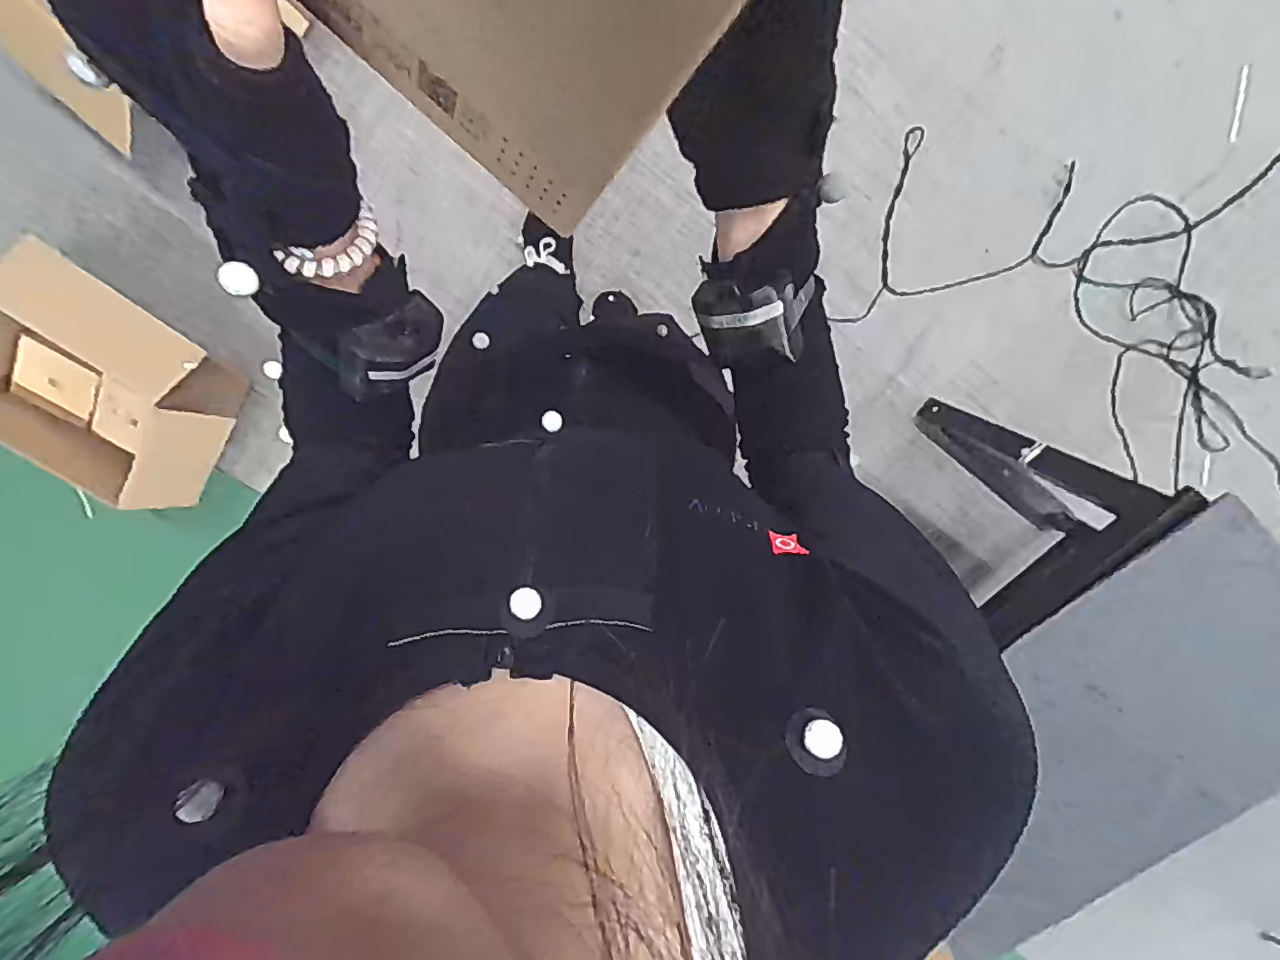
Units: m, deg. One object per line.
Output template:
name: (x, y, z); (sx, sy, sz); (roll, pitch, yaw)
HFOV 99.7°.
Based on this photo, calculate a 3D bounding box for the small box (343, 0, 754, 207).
small box: (-0.013, -0.218, 0.144); (0.168, 0.176, 0.179); (37, 76, -21)
